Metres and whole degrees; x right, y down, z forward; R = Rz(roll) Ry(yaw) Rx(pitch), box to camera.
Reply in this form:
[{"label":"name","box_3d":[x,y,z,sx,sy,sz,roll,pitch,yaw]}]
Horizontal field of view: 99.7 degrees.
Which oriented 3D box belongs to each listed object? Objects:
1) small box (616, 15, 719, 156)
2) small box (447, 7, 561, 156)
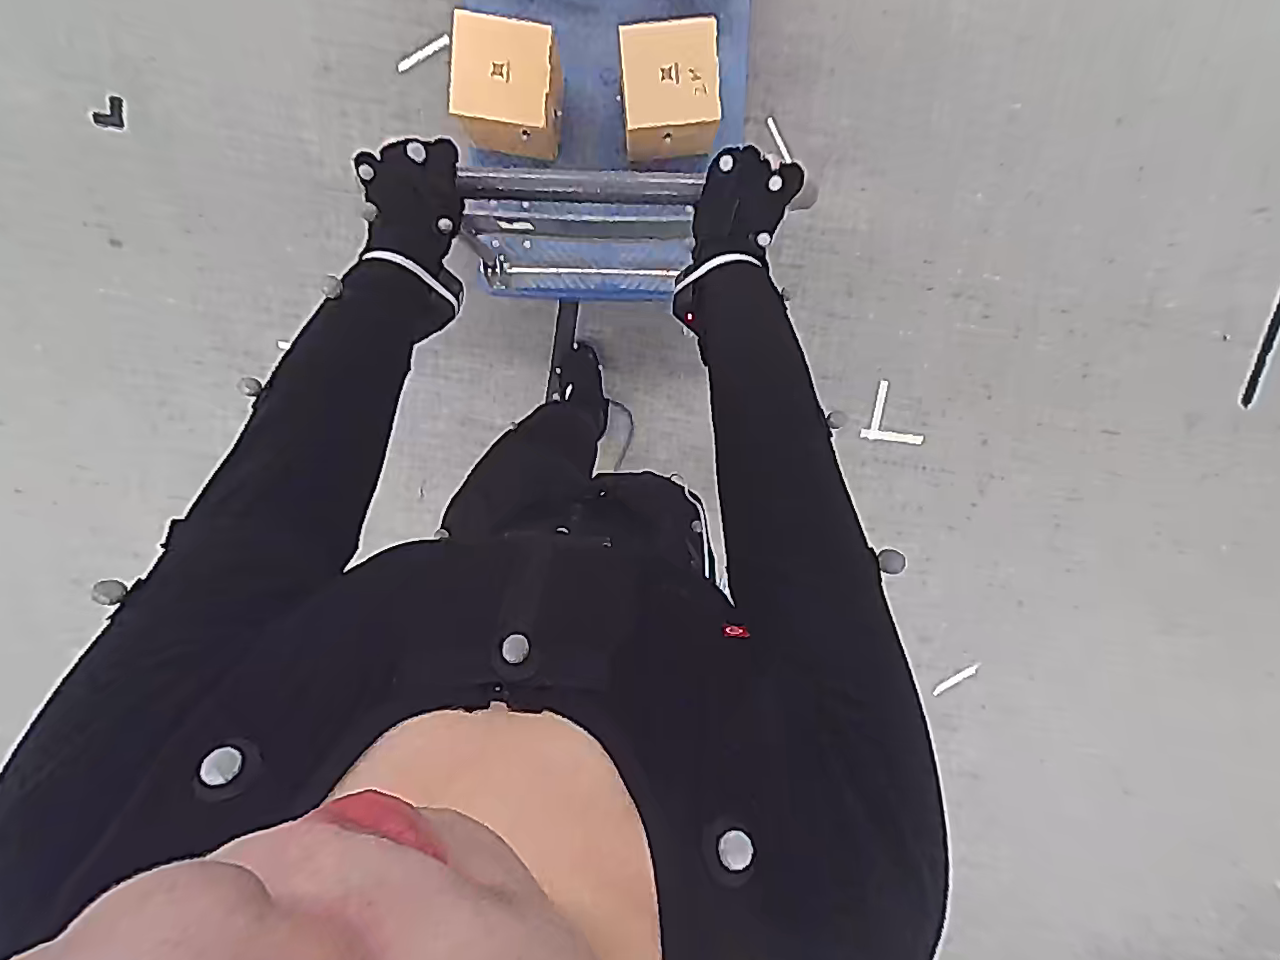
[{"label":"small box","box_3d":[0.051,-0.745,1.041,0.179,0.176,0.168,-5,103,0]},{"label":"small box","box_3d":[-0.254,-0.749,1.036,0.179,0.176,0.168,7,102,-4]}]
